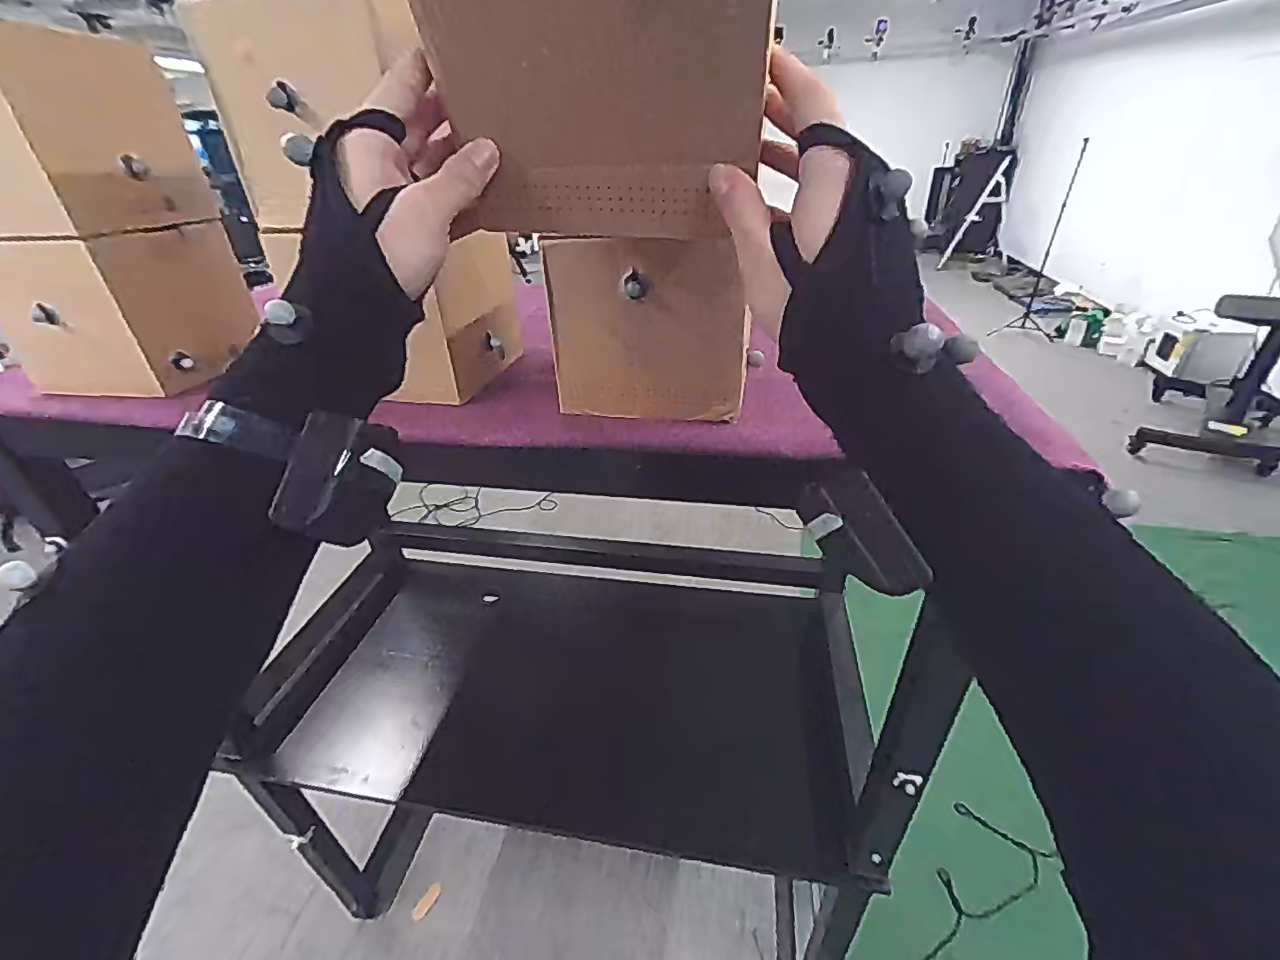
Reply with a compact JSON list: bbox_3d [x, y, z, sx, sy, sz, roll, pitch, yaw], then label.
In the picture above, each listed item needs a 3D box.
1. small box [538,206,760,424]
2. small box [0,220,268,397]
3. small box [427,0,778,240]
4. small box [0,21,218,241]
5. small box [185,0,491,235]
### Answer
[{"bbox_3d":[0.021,-0.165,0.532,0.179,0.176,0.168,5,35,12],"label":"small box"},{"bbox_3d":[-0.596,-0.204,0.640,0.179,0.176,0.168,2,32,9],"label":"small box"},{"bbox_3d":[-0.010,-0.264,0.321,0.179,0.176,0.168,6,56,9],"label":"small box"},{"bbox_3d":[-0.600,-0.345,0.555,0.179,0.176,0.168,4,33,10],"label":"small box"},{"bbox_3d":[-0.252,-0.332,0.509,0.179,0.176,0.168,5,33,12],"label":"small box"}]
